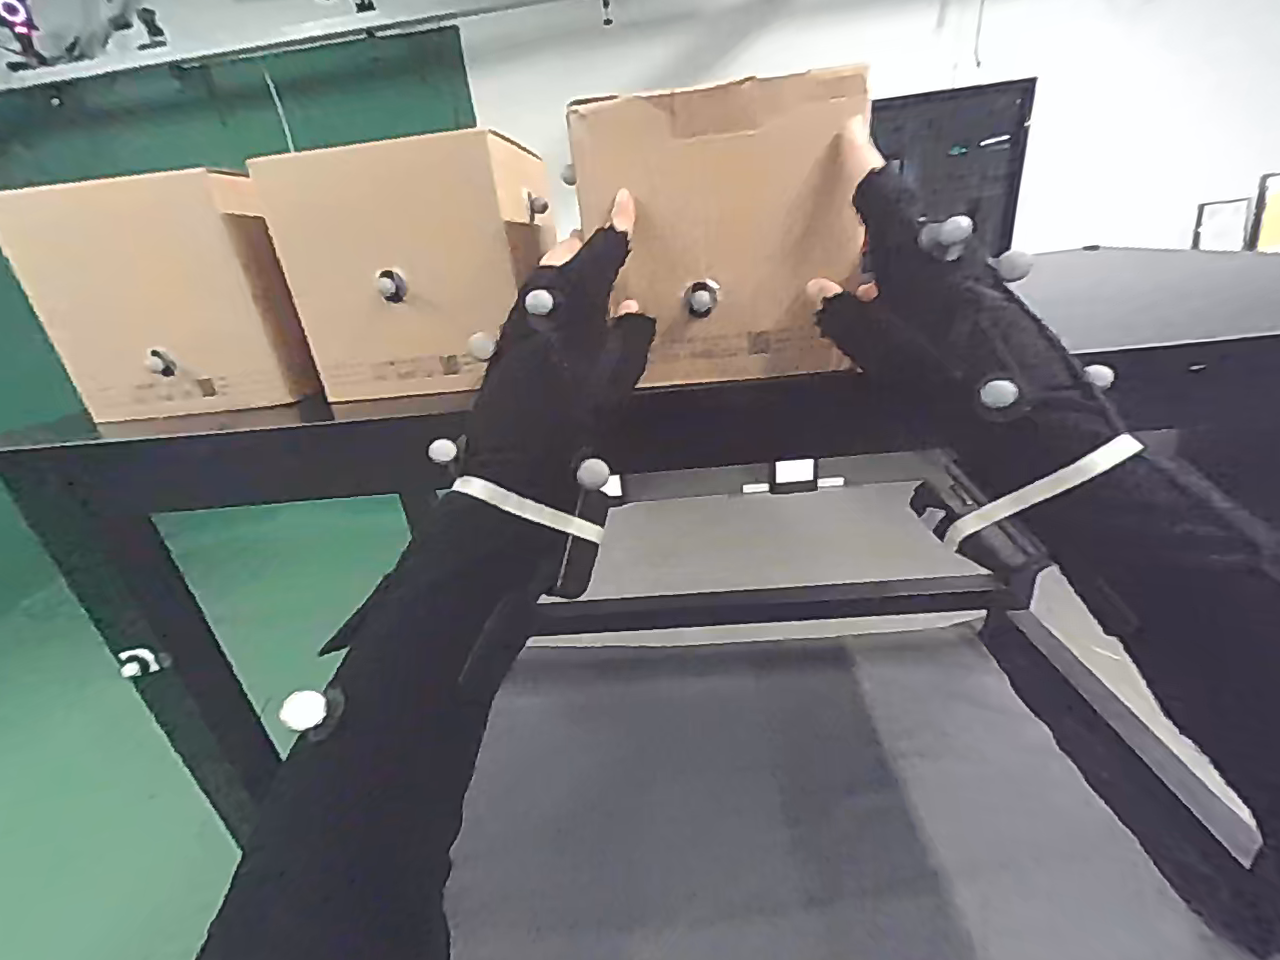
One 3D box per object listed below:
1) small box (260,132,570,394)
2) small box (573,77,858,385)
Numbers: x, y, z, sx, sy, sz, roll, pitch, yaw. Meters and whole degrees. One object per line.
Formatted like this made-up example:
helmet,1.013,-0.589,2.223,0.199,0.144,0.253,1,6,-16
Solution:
small box,-0.164,-0.175,0.465,0.168,0.176,0.179,-5,23,5
small box,0.054,-0.176,0.414,0.168,0.176,0.179,-4,24,6
